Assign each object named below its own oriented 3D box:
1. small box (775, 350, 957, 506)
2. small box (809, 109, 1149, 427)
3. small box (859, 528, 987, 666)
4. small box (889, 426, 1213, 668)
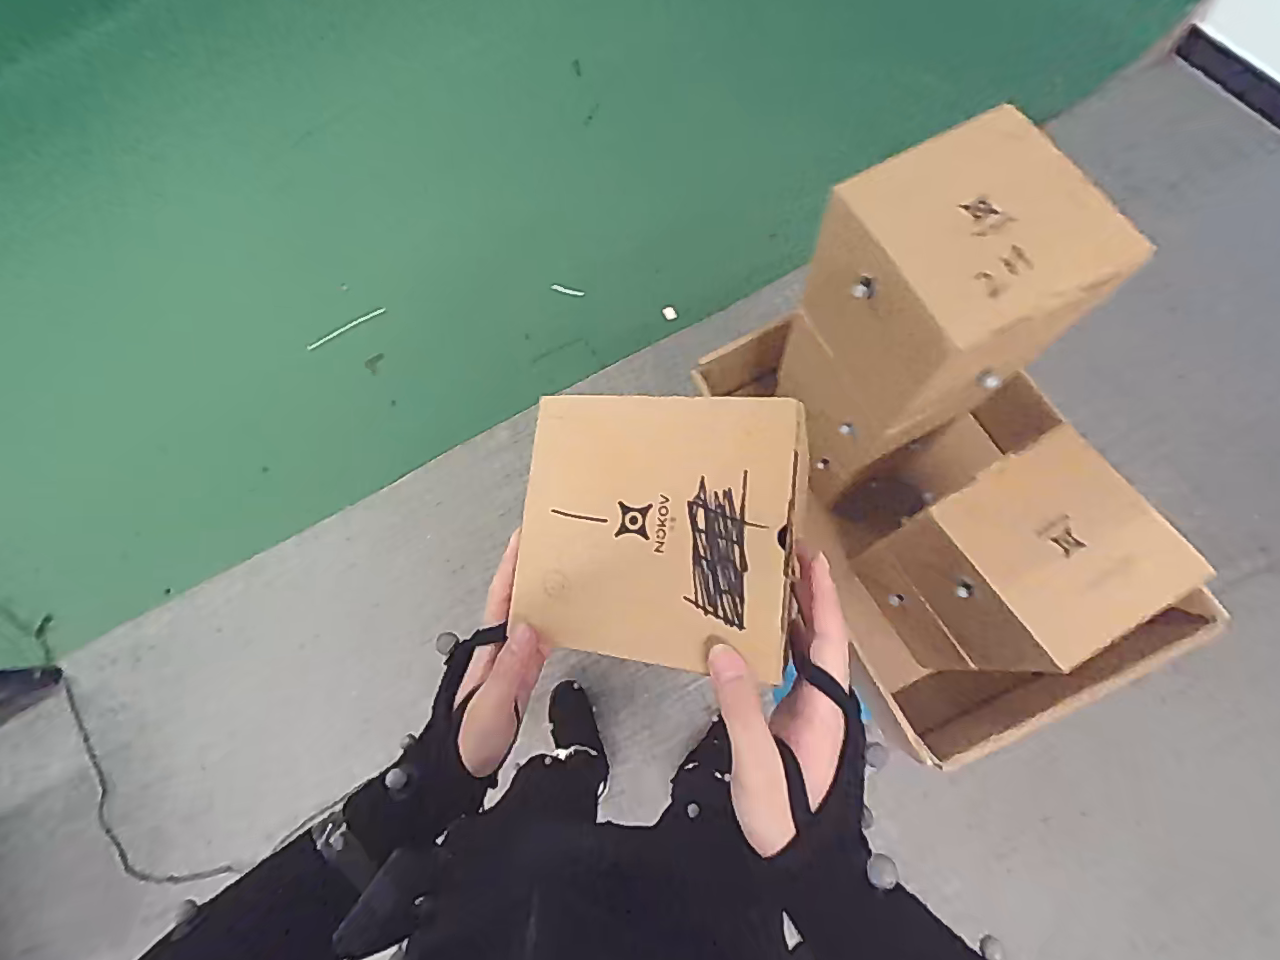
[{"bbox_3d":[0.319,-0.085,0.810,0.168,0.176,0.179,-27,72,-1],"label":"small box"},{"bbox_3d":[0.276,-0.178,0.497,0.168,0.176,0.179,-26,72,1],"label":"small box"},{"bbox_3d":[0.423,0.133,0.721,0.168,0.176,0.179,-30,69,-2],"label":"small box"},{"bbox_3d":[0.398,0.080,0.569,0.168,0.176,0.179,-31,70,-1],"label":"small box"}]
